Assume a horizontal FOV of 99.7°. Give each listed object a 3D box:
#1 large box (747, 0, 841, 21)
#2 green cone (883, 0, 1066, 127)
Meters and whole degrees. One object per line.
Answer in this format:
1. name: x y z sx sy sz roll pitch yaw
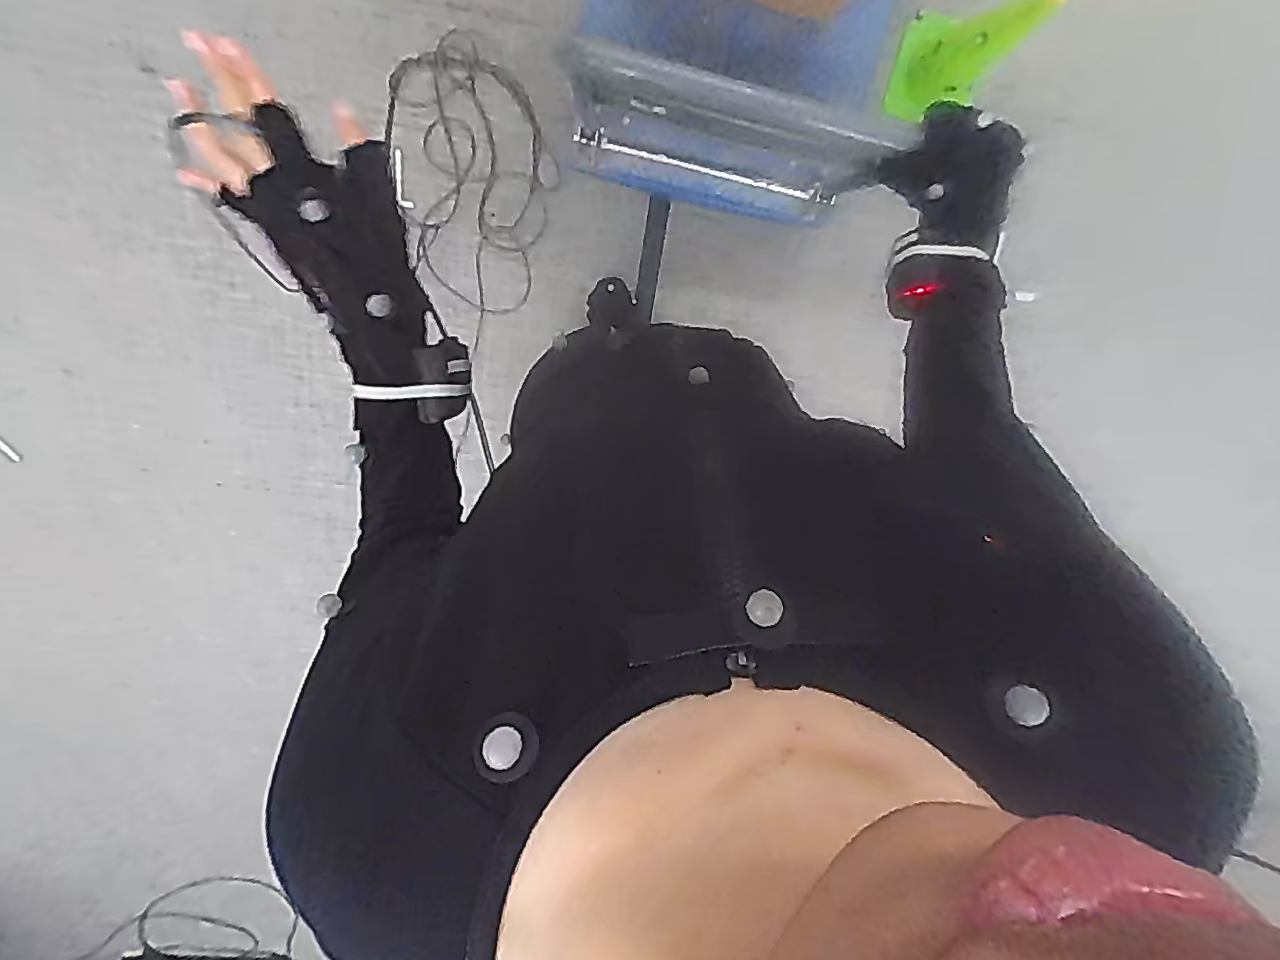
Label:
1. large box: 0.196 -0.996 0.829 0.408 0.320 0.320 11 110 -6
2. green cone: 0.677 -0.868 1.055 0.202 0.368 0.200 10 109 -8
